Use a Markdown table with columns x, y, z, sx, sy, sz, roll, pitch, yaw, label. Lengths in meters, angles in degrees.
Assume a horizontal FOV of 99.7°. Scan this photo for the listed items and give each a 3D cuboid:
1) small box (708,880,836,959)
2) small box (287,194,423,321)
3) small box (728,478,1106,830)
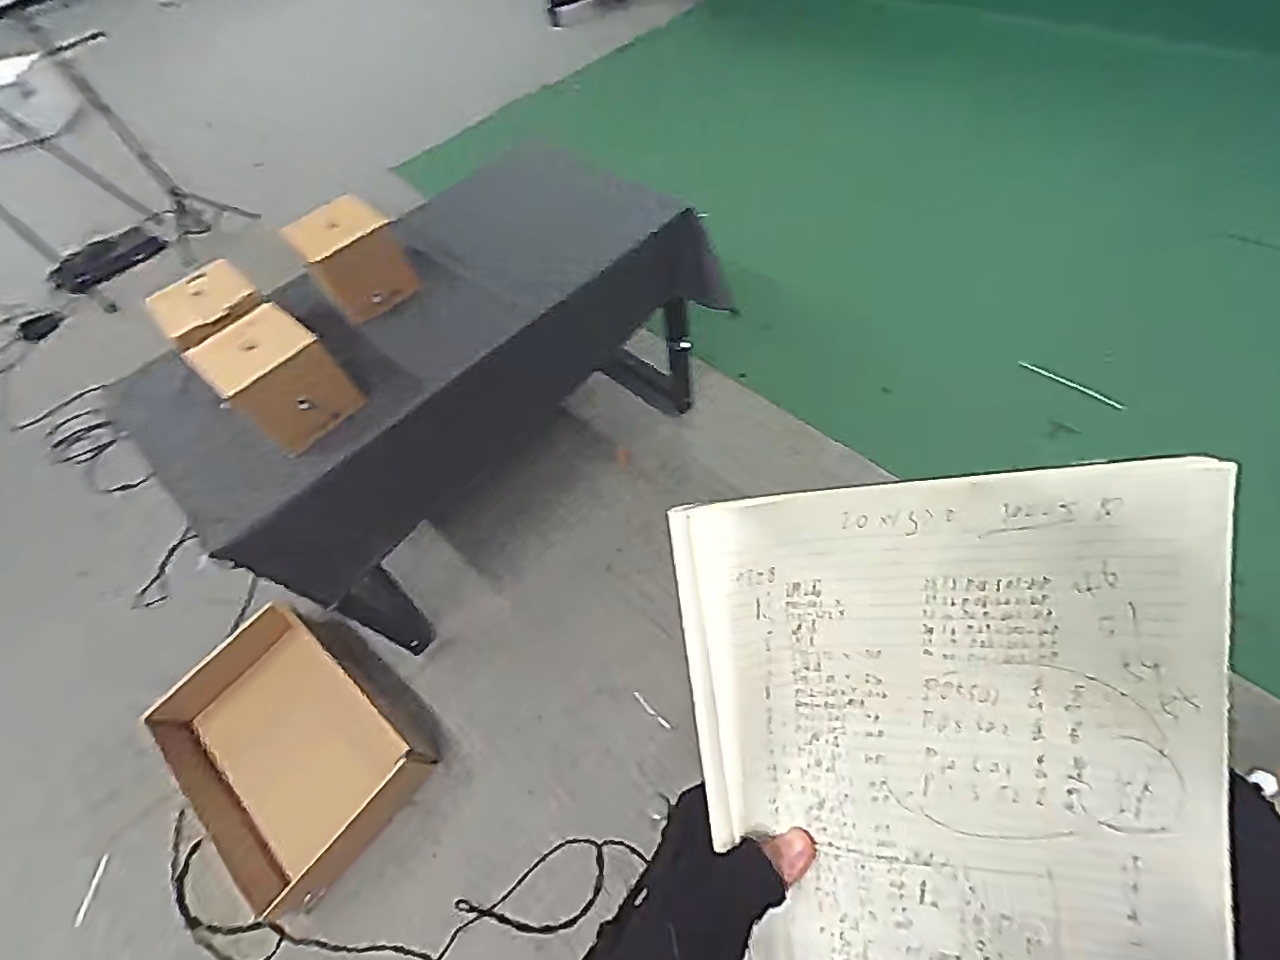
| x | y | z | sx | sy | sz | roll | pitch | yaw | label |
| --- | --- | --- | --- | --- | --- | --- | --- | --- | --- |
| 0.252 | 0.917 | 1.048 | 0.179 | 0.176 | 0.168 | 22 | 72 | 40 | small box |
| -0.611 | -0.479 | 1.176 | 0.168 | 0.176 | 0.179 | -40 | 62 | -17 | small box |
| 0.156 | 0.107 | 0.376 | 0.168 | 0.176 | 0.179 | -8 | 79 | 6 | small box |
